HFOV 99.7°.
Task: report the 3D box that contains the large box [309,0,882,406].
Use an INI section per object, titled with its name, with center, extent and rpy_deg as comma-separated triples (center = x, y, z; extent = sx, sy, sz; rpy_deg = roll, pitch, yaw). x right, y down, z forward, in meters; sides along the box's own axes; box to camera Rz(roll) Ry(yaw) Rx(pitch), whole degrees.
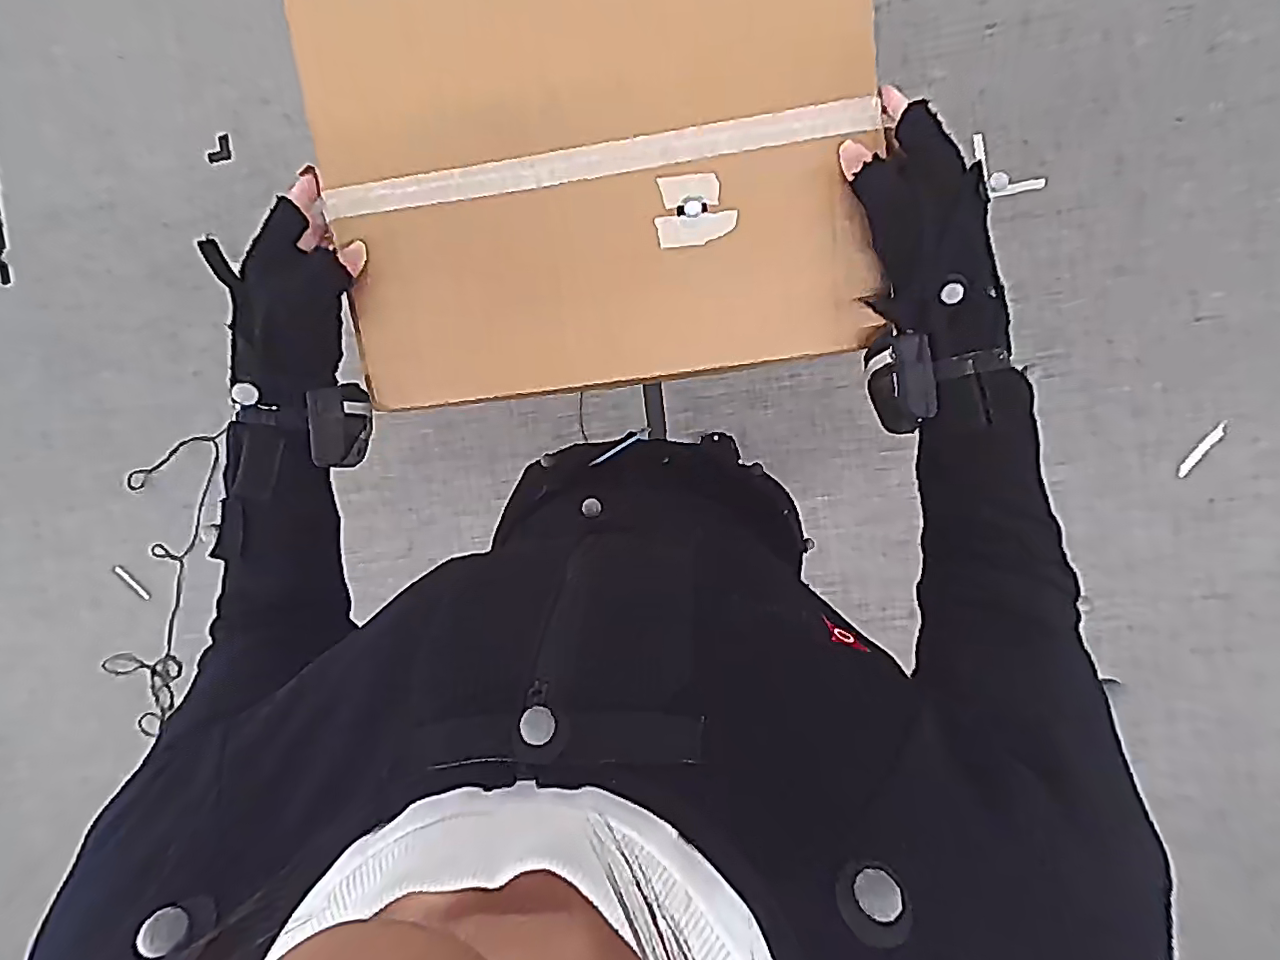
[large box]
center = -0.024, -0.261, 0.553
extent = 0.408, 0.320, 0.320
rpy_deg = -7, 100, 4
